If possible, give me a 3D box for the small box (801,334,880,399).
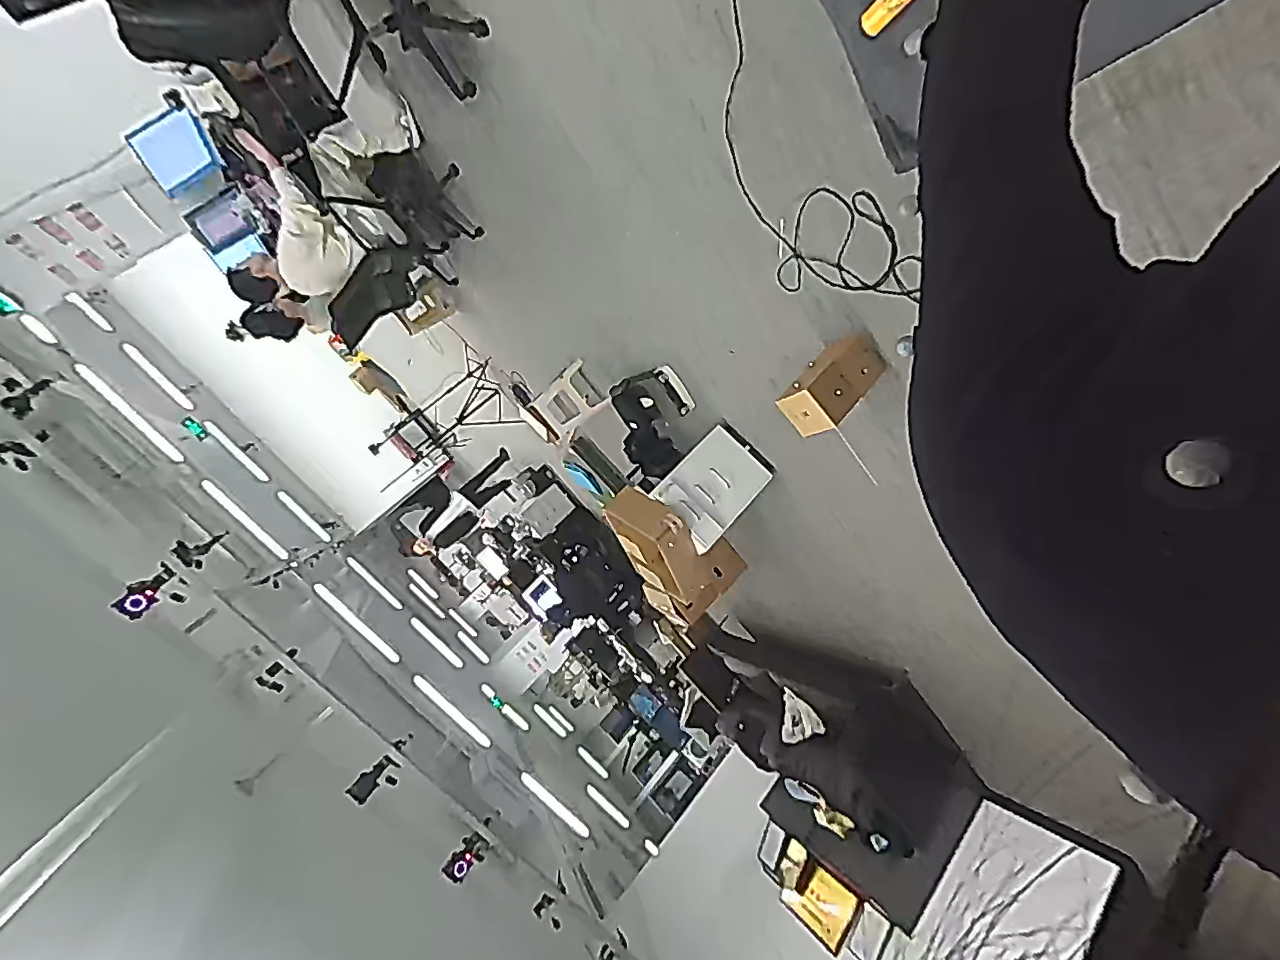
[{"bbox_3d":[0.715,-0.387,1.908,0.168,0.176,0.179,48,161,-11],"label":"small box"}]

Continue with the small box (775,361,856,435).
[{"bbox_3d":[0.605,-0.280,1.845,0.168,0.176,0.179,48,161,-9],"label":"small box"}]
